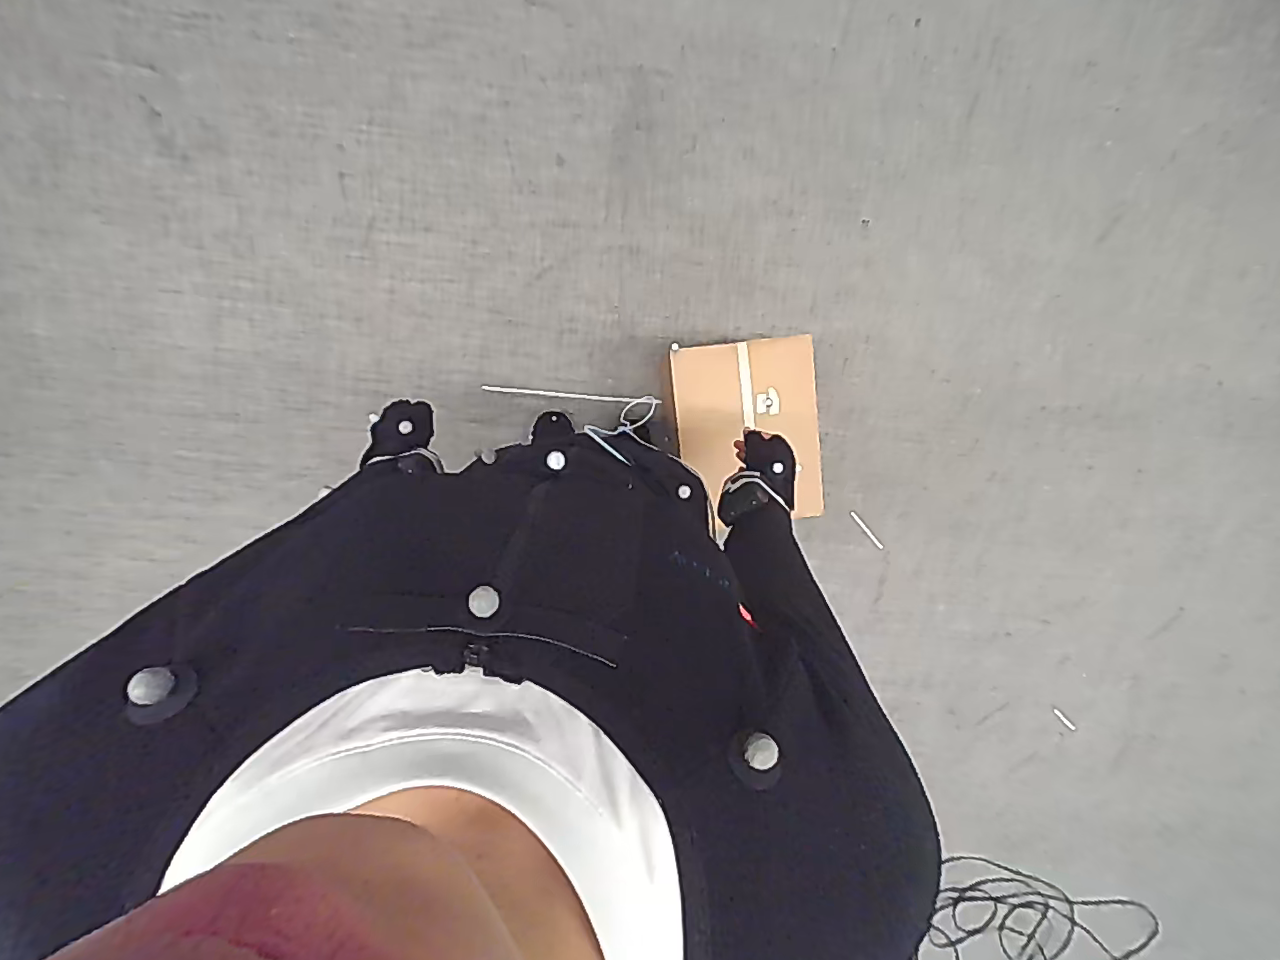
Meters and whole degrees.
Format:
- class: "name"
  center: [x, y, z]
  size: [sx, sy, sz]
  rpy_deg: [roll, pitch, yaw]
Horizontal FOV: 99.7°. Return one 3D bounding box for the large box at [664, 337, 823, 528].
- class: "large box"
  center: [0.241, -0.120, 1.357]
  size: [0.320, 0.320, 0.408]
  rpy_deg: [-7, 97, -2]
